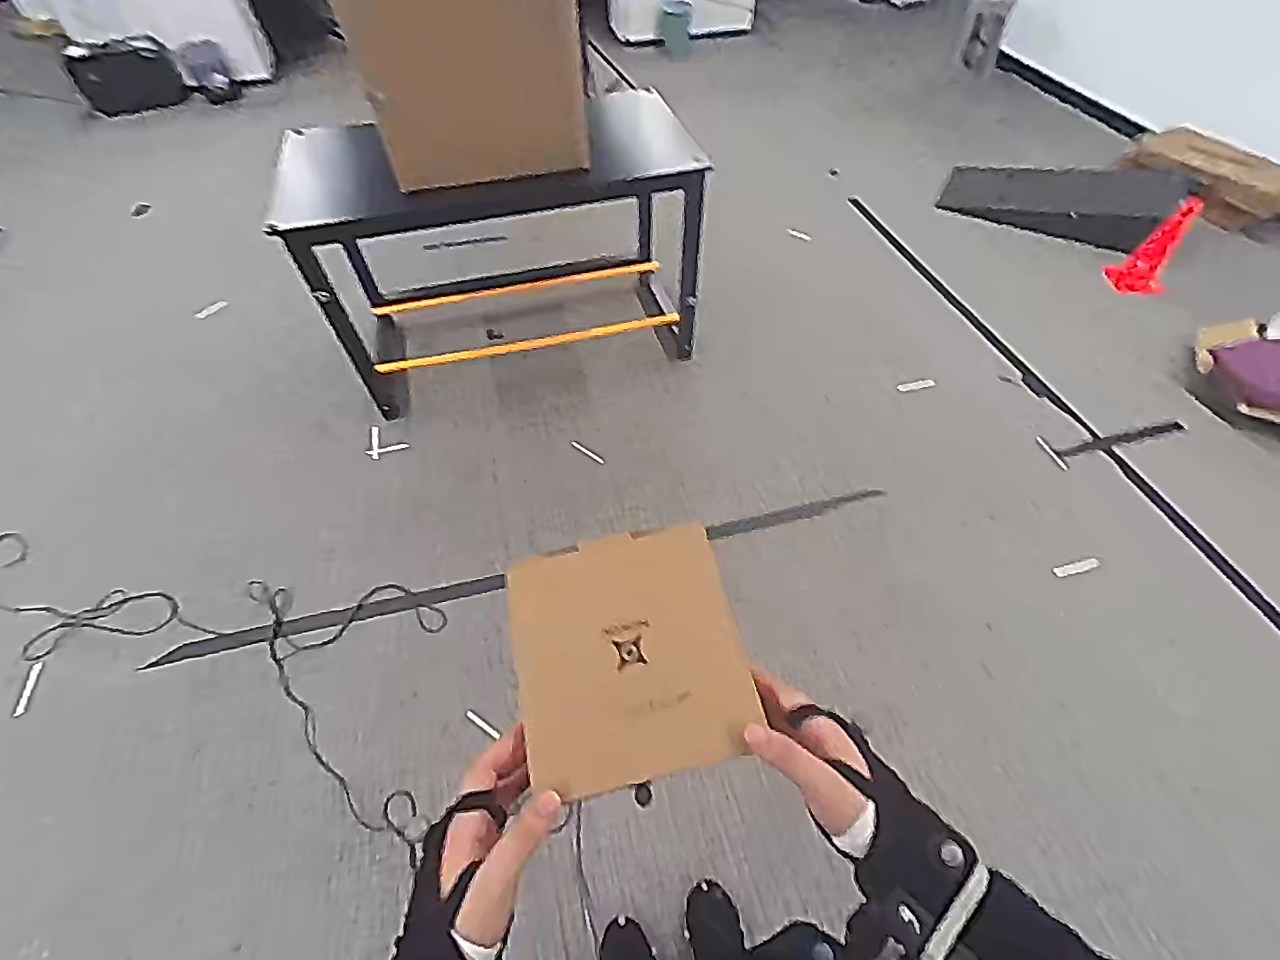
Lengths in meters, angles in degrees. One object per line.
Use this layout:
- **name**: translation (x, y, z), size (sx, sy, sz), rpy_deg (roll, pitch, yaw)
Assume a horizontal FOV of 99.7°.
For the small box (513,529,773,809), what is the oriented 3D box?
- **small box**: translation (-0.006, 0.168, 0.469), size (0.168, 0.176, 0.179), rpy_deg (-12, 61, -6)
